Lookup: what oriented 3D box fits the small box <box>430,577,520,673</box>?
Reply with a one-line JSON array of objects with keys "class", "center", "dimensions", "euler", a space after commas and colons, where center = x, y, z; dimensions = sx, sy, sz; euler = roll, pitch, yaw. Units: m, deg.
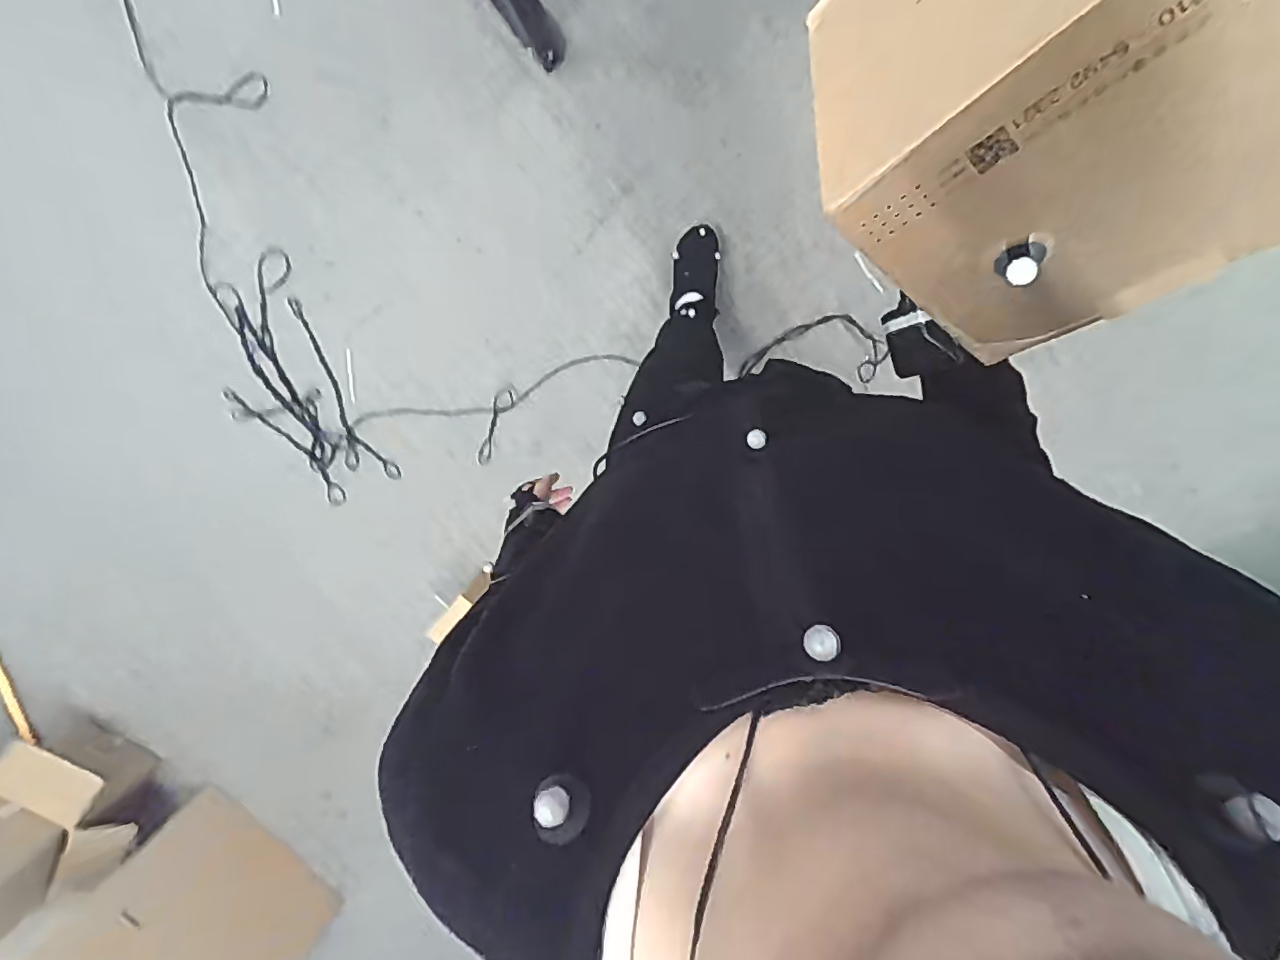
[{"class": "small box", "center": [-0.473, 0.419, 1.588], "dimensions": [0.168, 0.176, 0.179], "euler": [42, 105, -7]}]

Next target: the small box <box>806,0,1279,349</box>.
[{"class": "small box", "center": [0.198, -0.203, 0.257], "dimensions": [0.176, 0.179, 0.168], "euler": [23, 149, -31]}]
